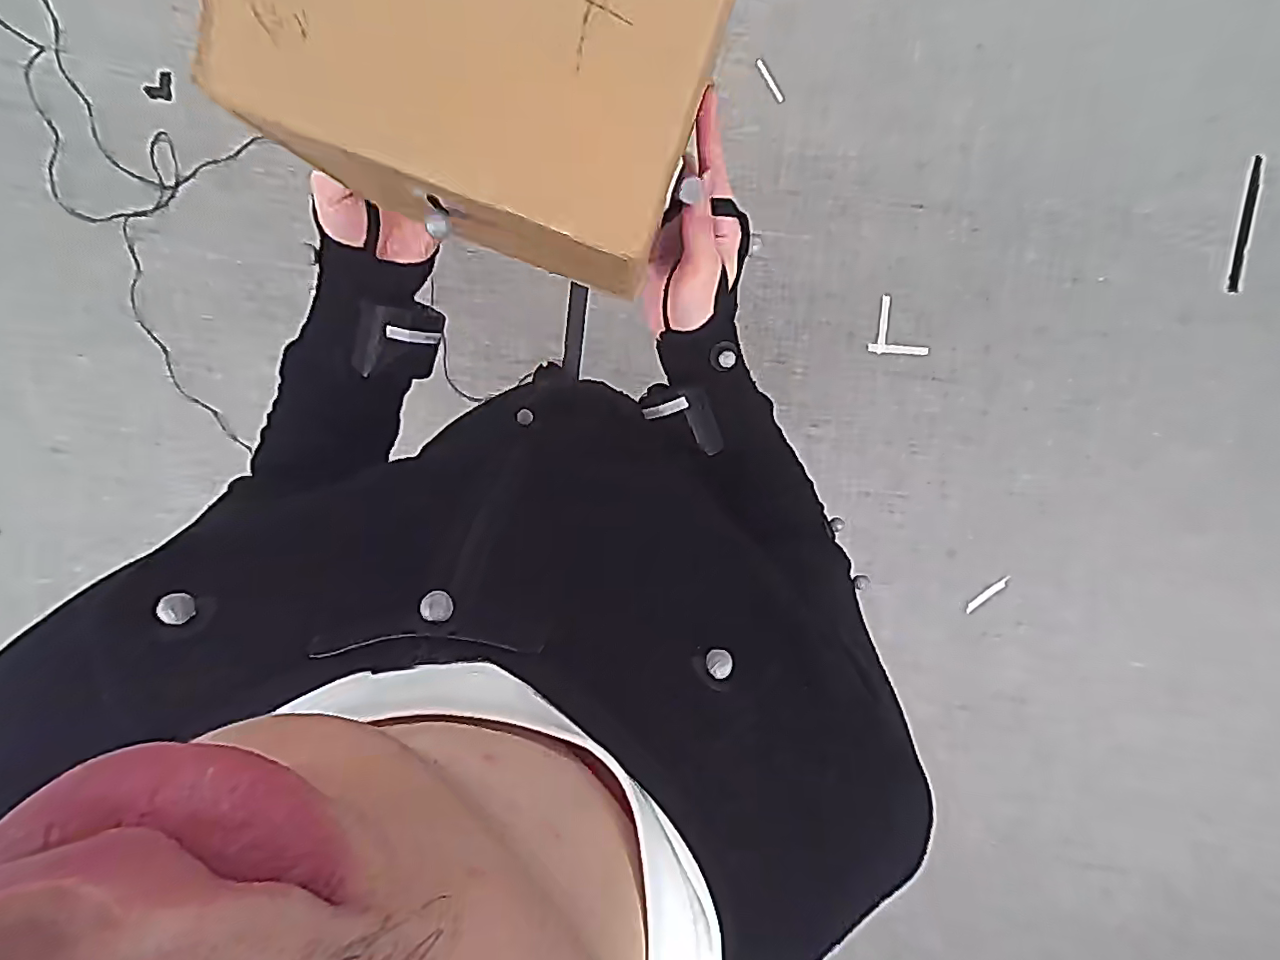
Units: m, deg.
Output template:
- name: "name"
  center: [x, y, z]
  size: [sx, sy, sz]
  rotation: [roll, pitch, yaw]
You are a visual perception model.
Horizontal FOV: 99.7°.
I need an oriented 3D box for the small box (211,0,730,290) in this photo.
- name: "small box"
  center: [-0.059, -0.209, 0.276]
  size: [0.179, 0.176, 0.168]
  rotation: [18, 102, -5]
